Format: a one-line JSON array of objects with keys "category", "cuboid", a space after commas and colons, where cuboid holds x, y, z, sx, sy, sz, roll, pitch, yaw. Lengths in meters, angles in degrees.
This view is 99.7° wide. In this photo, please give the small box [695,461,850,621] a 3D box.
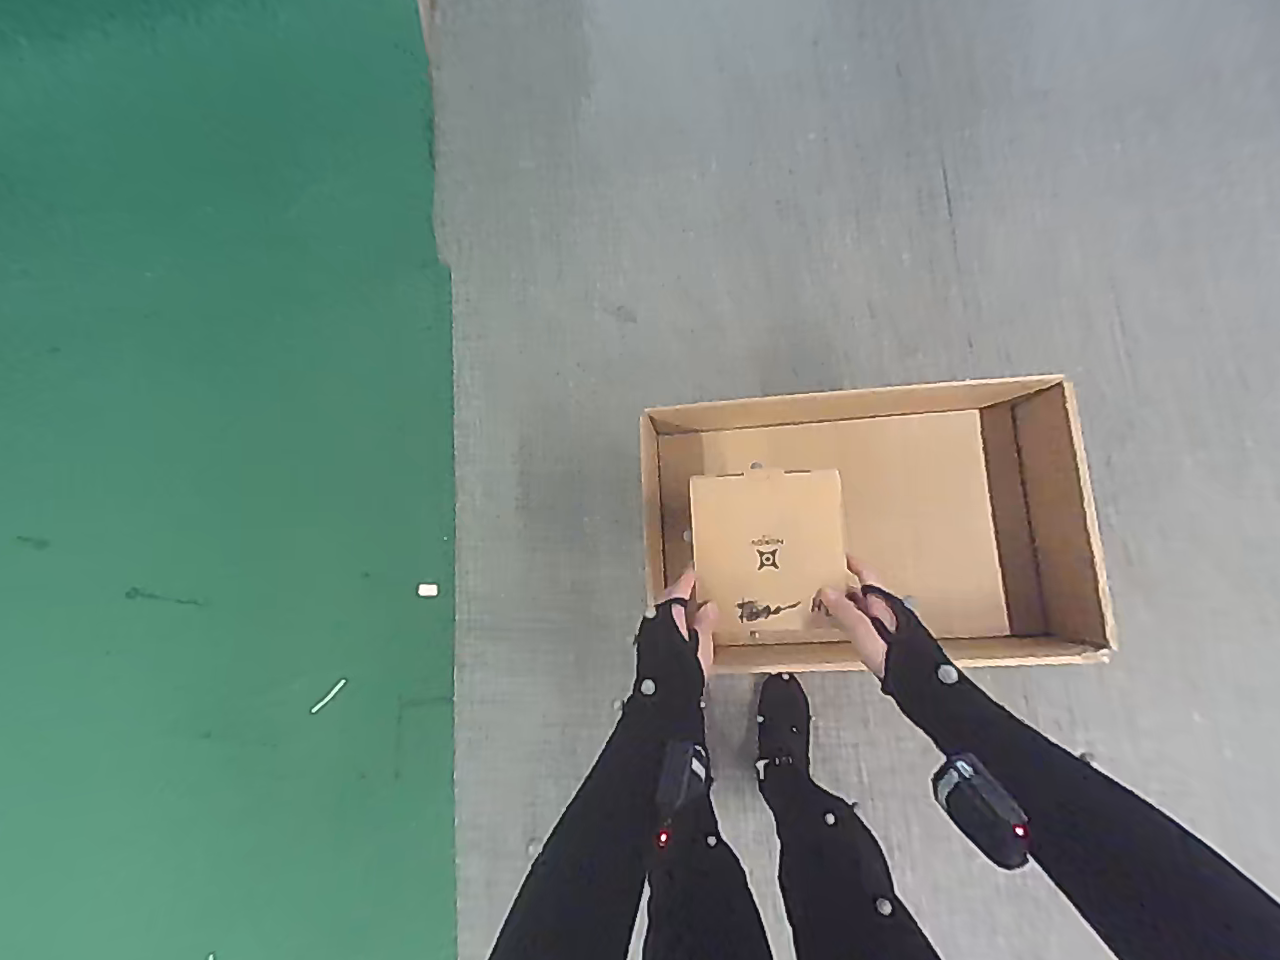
[{"category": "small box", "cuboid": [0.154, 0.072, 0.678, 0.168, 0.176, 0.179, -2, 87, 7]}]
